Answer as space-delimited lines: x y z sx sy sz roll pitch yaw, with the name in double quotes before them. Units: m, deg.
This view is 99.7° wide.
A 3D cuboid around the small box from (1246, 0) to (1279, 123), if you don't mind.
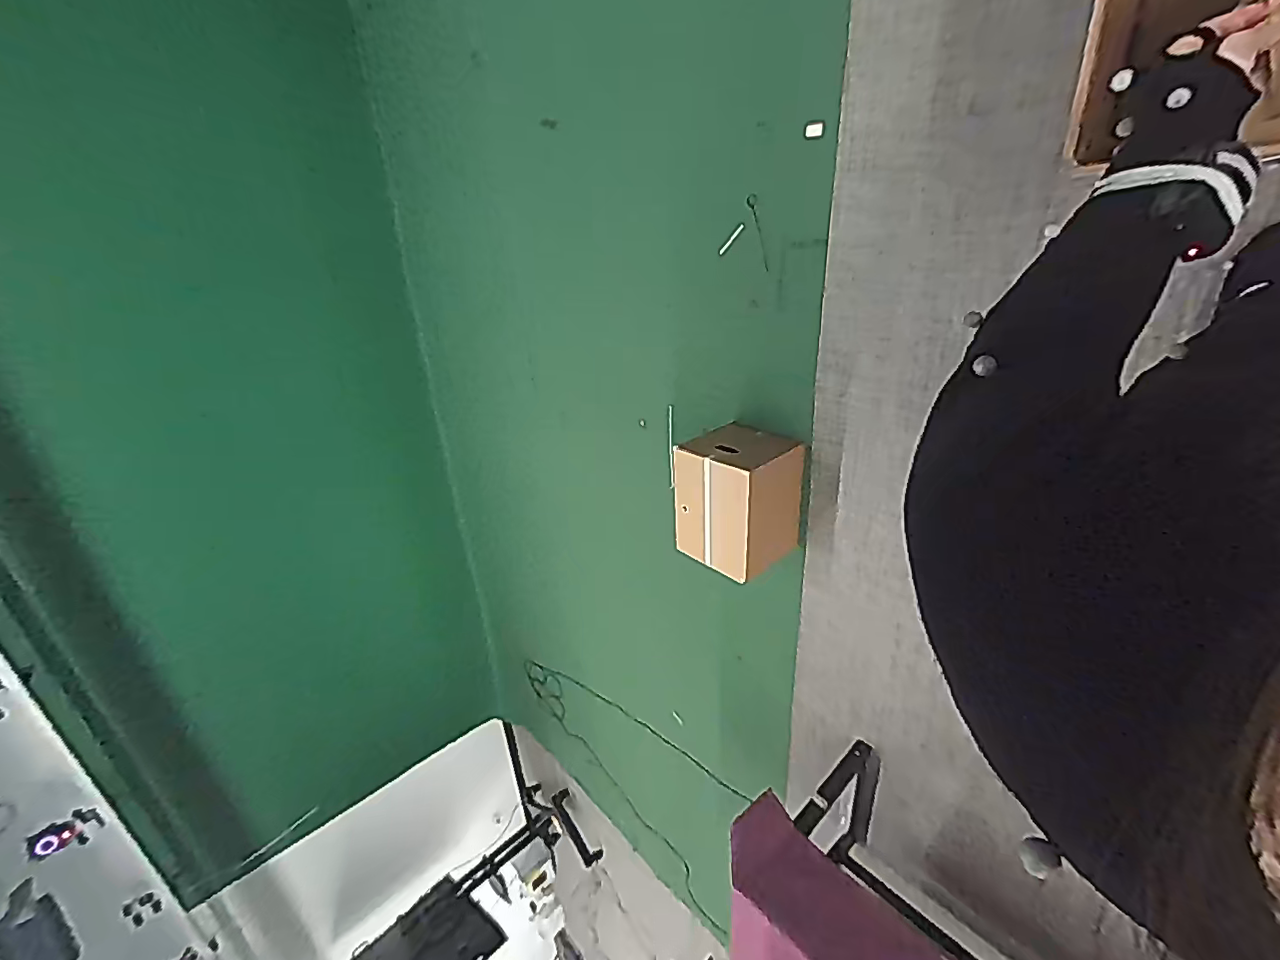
"small box" 0.589 -0.403 0.411 0.168 0.176 0.179 -3 109 47
